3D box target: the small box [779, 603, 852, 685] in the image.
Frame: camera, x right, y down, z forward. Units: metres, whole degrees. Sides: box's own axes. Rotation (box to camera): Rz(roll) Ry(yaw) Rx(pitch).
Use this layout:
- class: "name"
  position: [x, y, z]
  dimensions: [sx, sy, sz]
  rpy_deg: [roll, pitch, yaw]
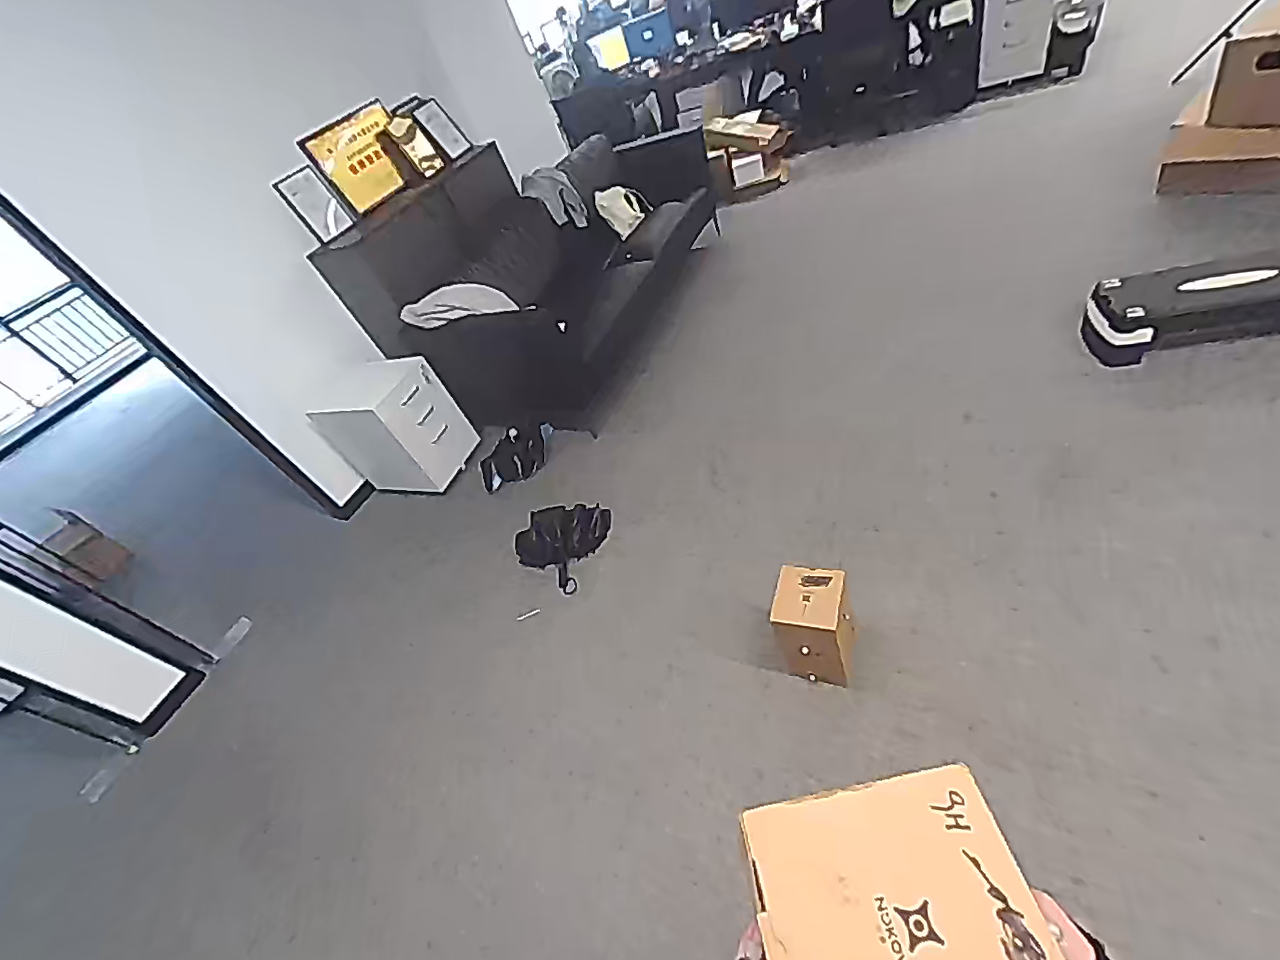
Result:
- class: "small box"
  position: [0.512, 0.461, 1.562]
  dimensions: [0.168, 0.176, 0.179]
  rpy_deg: [2, 49, 30]

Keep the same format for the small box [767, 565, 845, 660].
- class: "small box"
  position: [0.452, 0.354, 1.452]
  dimensions: [0.168, 0.176, 0.179]
  rpy_deg: [1, 48, 29]
